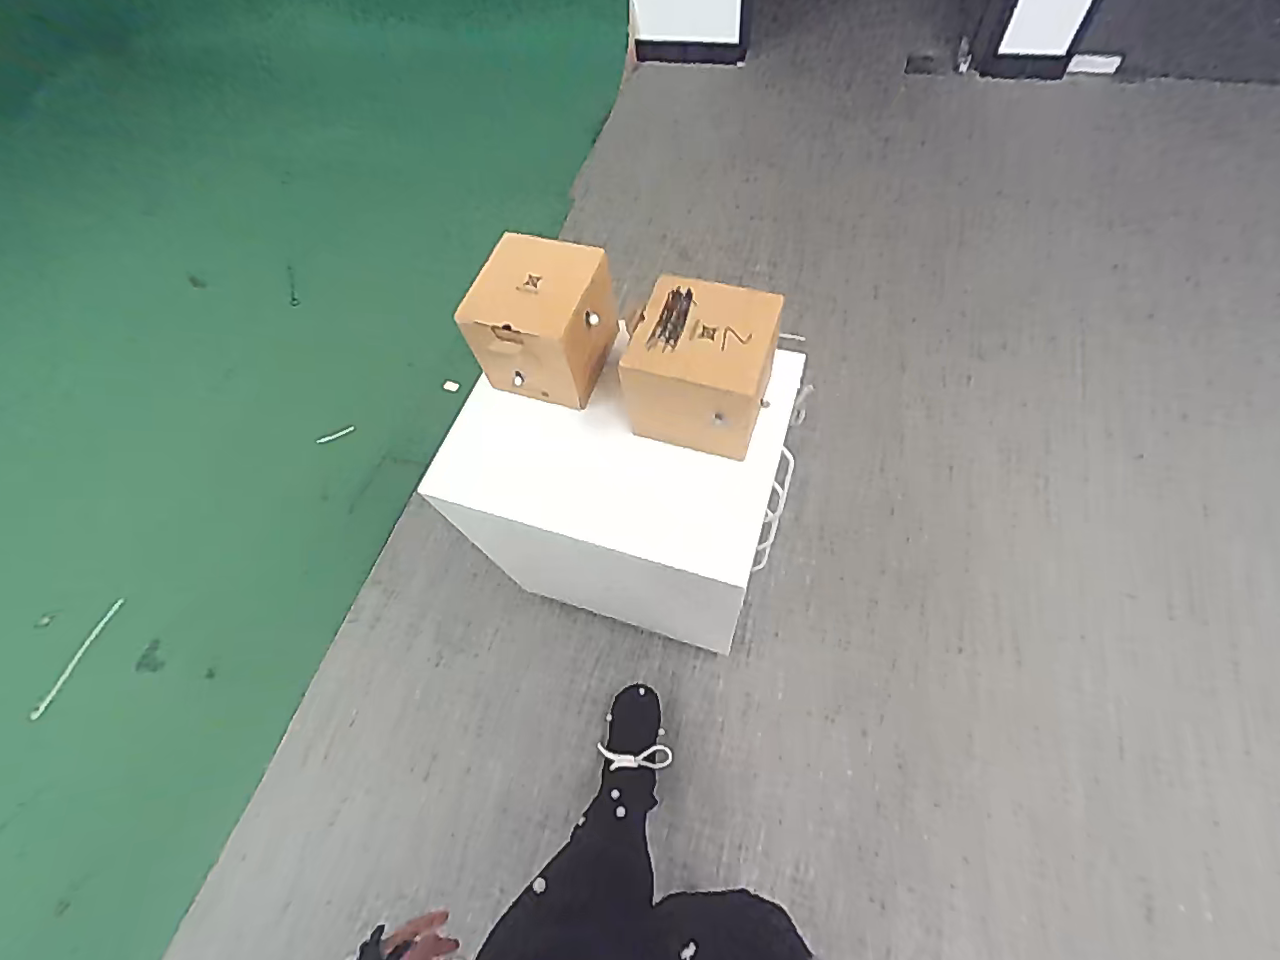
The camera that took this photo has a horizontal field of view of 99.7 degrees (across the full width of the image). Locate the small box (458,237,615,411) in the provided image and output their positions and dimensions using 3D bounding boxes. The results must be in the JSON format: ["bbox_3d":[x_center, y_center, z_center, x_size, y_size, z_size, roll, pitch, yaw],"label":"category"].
[{"bbox_3d":[-0.144,-0.236,0.834,0.168,0.176,0.179,15,67,13],"label":"small box"}]
